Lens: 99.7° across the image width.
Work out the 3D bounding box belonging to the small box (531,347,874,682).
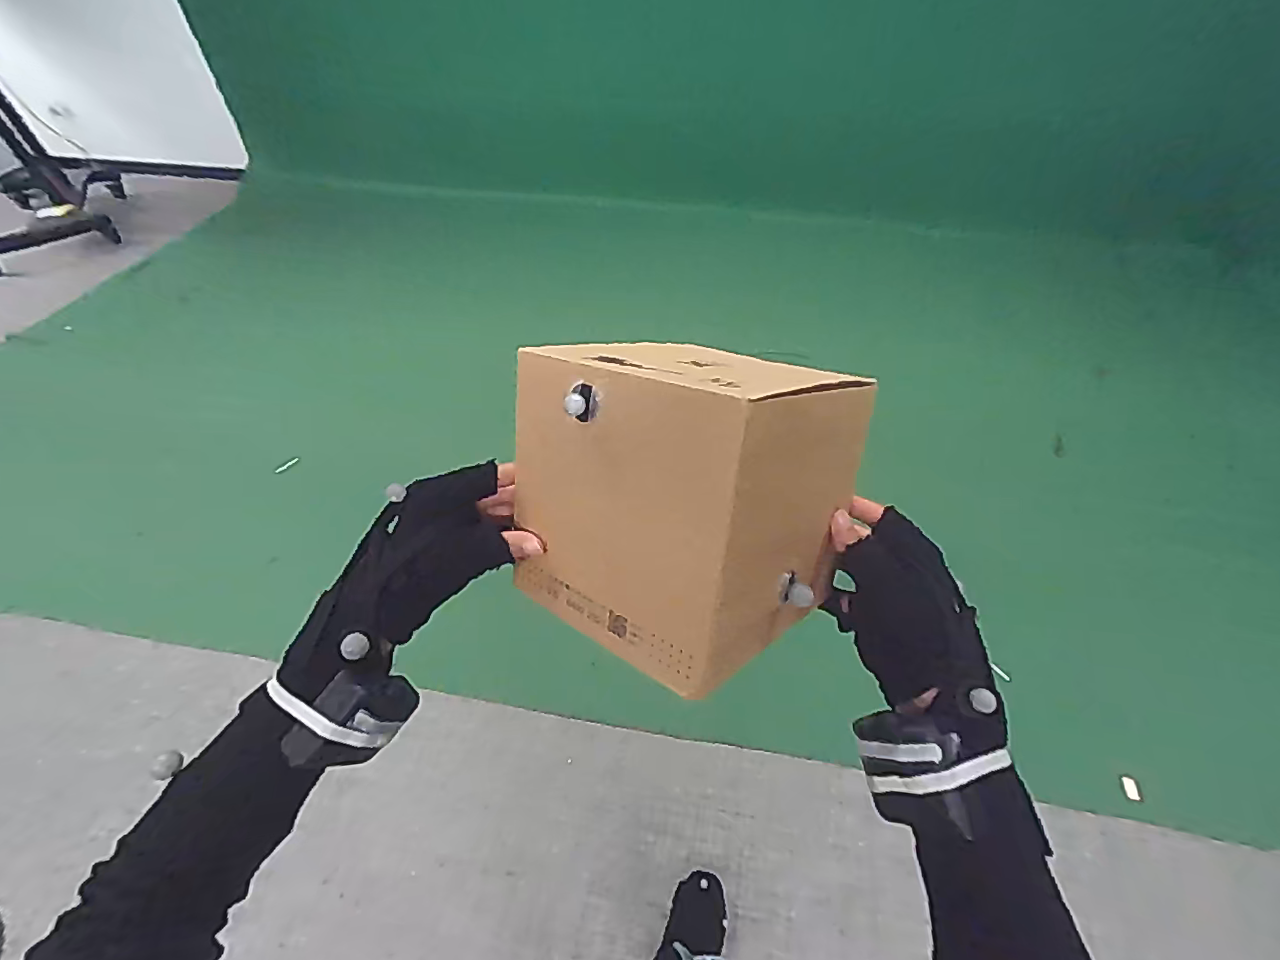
[{"bbox_3d":[0.038,0.005,0.383,0.168,0.176,0.179,20,22,37],"label":"small box"}]
